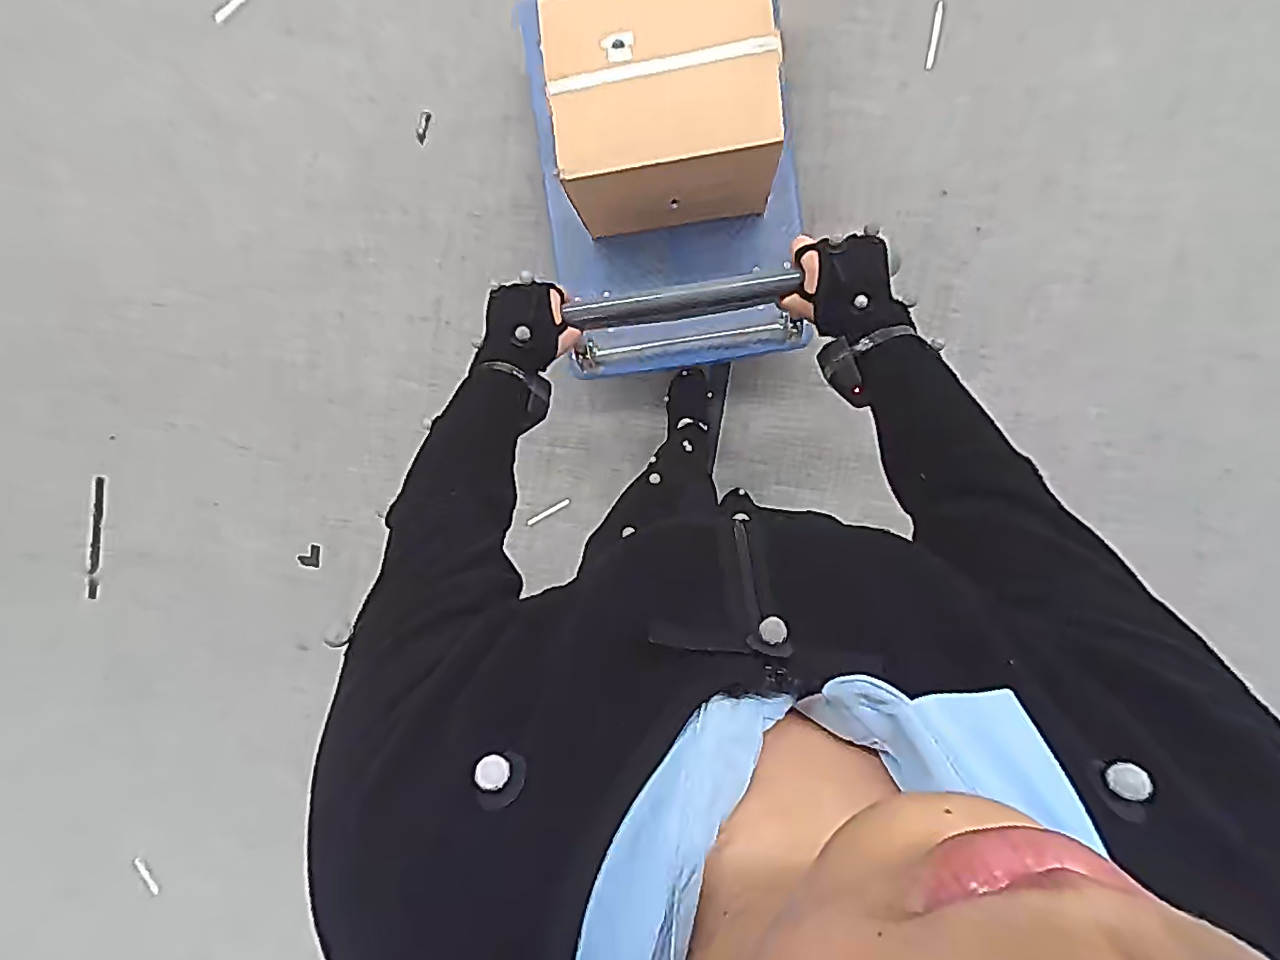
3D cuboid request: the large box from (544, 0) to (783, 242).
[{"bbox_3d":[0.058,-0.728,1.115,0.408,0.320,0.320,-6,93,8],"label":"large box"}]
